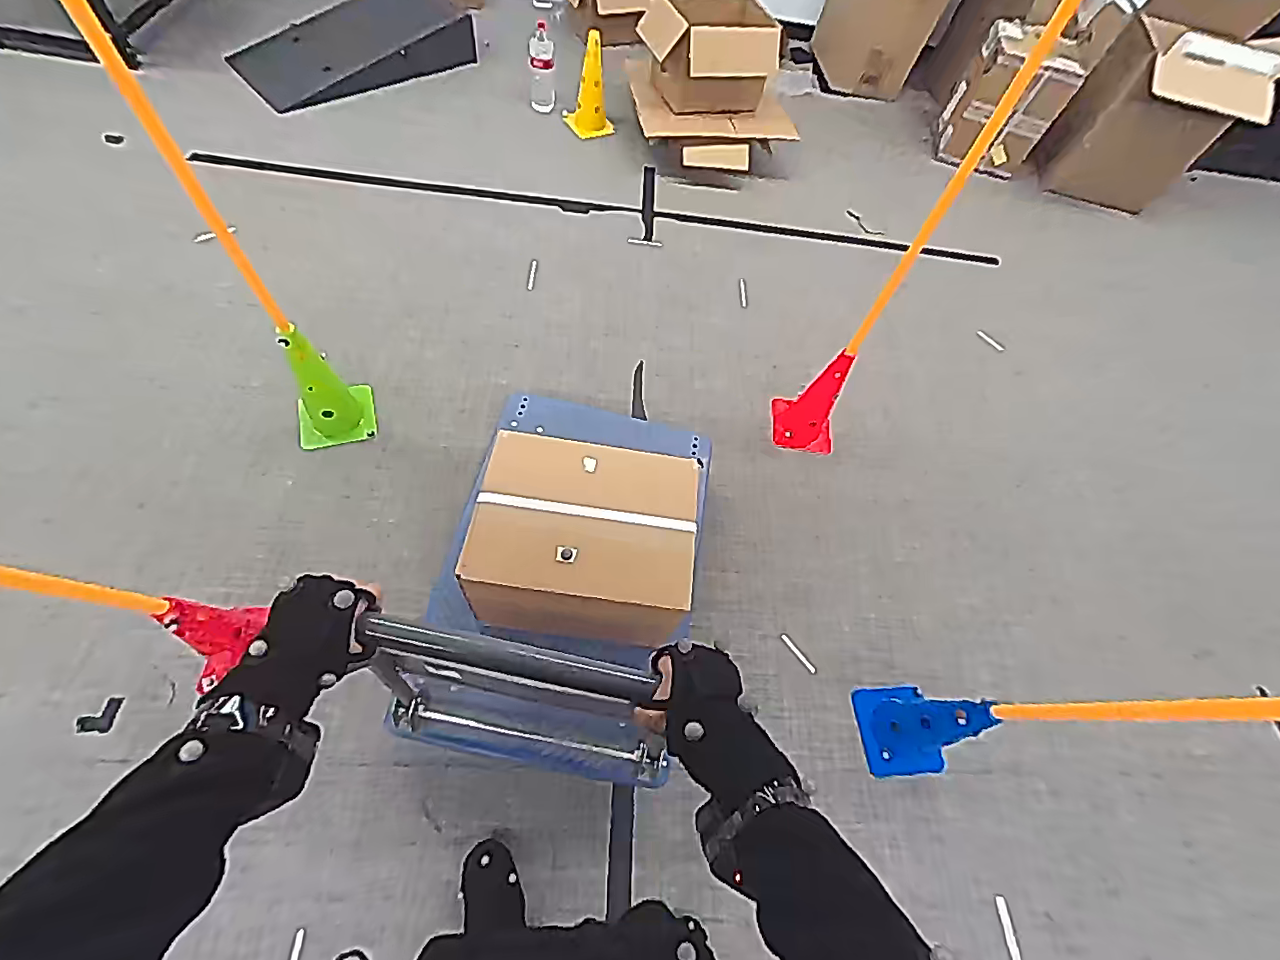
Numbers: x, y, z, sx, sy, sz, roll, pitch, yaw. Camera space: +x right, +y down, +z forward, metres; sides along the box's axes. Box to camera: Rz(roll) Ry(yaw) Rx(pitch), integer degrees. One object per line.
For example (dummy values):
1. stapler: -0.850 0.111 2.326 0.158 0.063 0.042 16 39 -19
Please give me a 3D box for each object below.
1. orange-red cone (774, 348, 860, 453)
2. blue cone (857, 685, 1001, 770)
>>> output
1. orange-red cone: 0.567 -0.266 1.639 0.199 0.360 0.198 11 60 -4
2. blue cone: 0.673 0.534 1.217 0.193 0.380 0.192 1 59 -8
